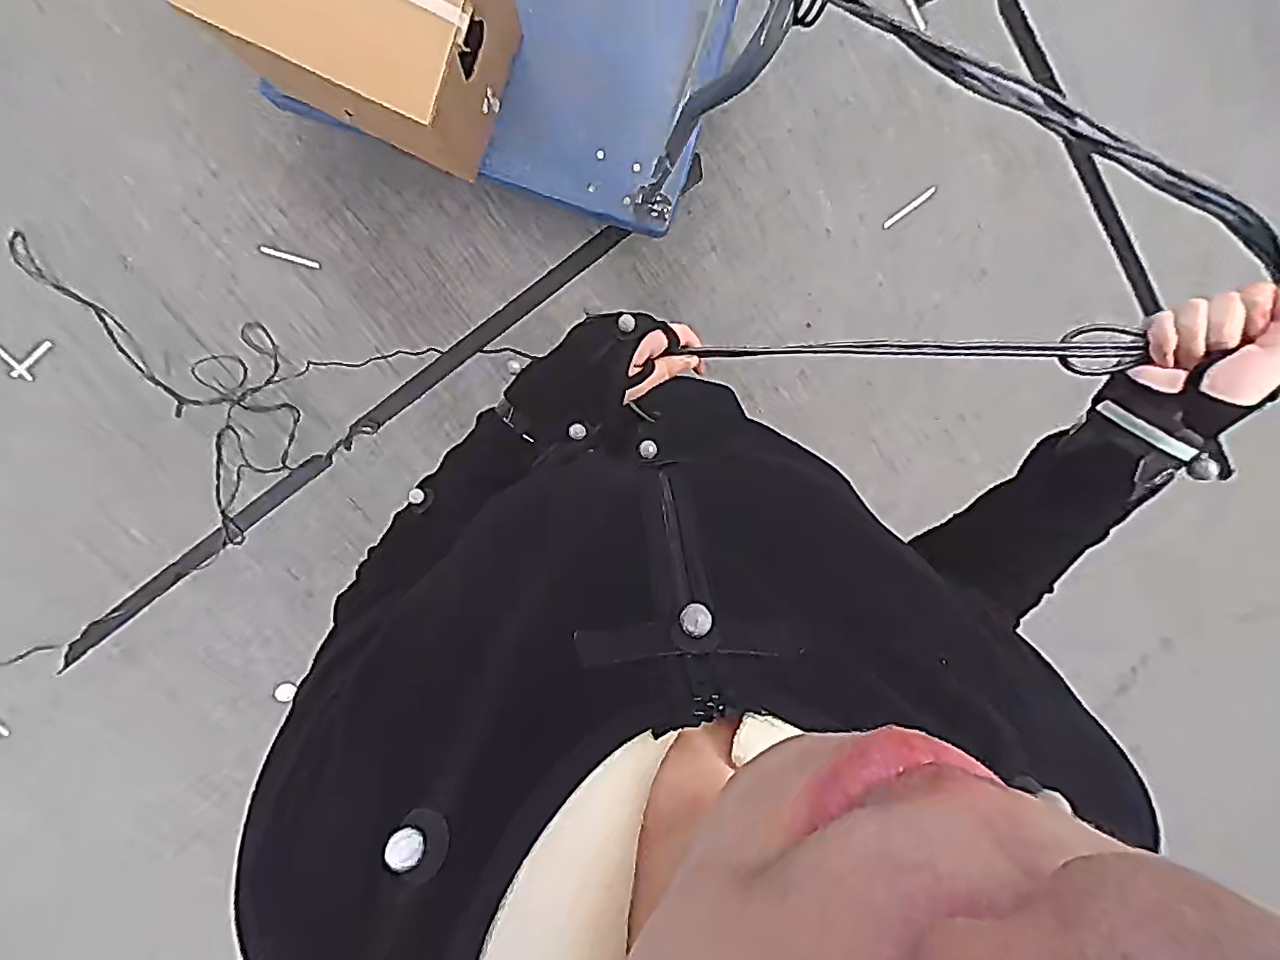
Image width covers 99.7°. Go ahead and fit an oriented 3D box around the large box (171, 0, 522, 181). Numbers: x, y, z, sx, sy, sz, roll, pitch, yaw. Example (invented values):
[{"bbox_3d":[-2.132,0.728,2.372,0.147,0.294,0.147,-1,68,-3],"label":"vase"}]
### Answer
[{"bbox_3d":[-0.460,-0.791,0.935,0.408,0.320,0.320,21,101,-8],"label":"large box"}]
